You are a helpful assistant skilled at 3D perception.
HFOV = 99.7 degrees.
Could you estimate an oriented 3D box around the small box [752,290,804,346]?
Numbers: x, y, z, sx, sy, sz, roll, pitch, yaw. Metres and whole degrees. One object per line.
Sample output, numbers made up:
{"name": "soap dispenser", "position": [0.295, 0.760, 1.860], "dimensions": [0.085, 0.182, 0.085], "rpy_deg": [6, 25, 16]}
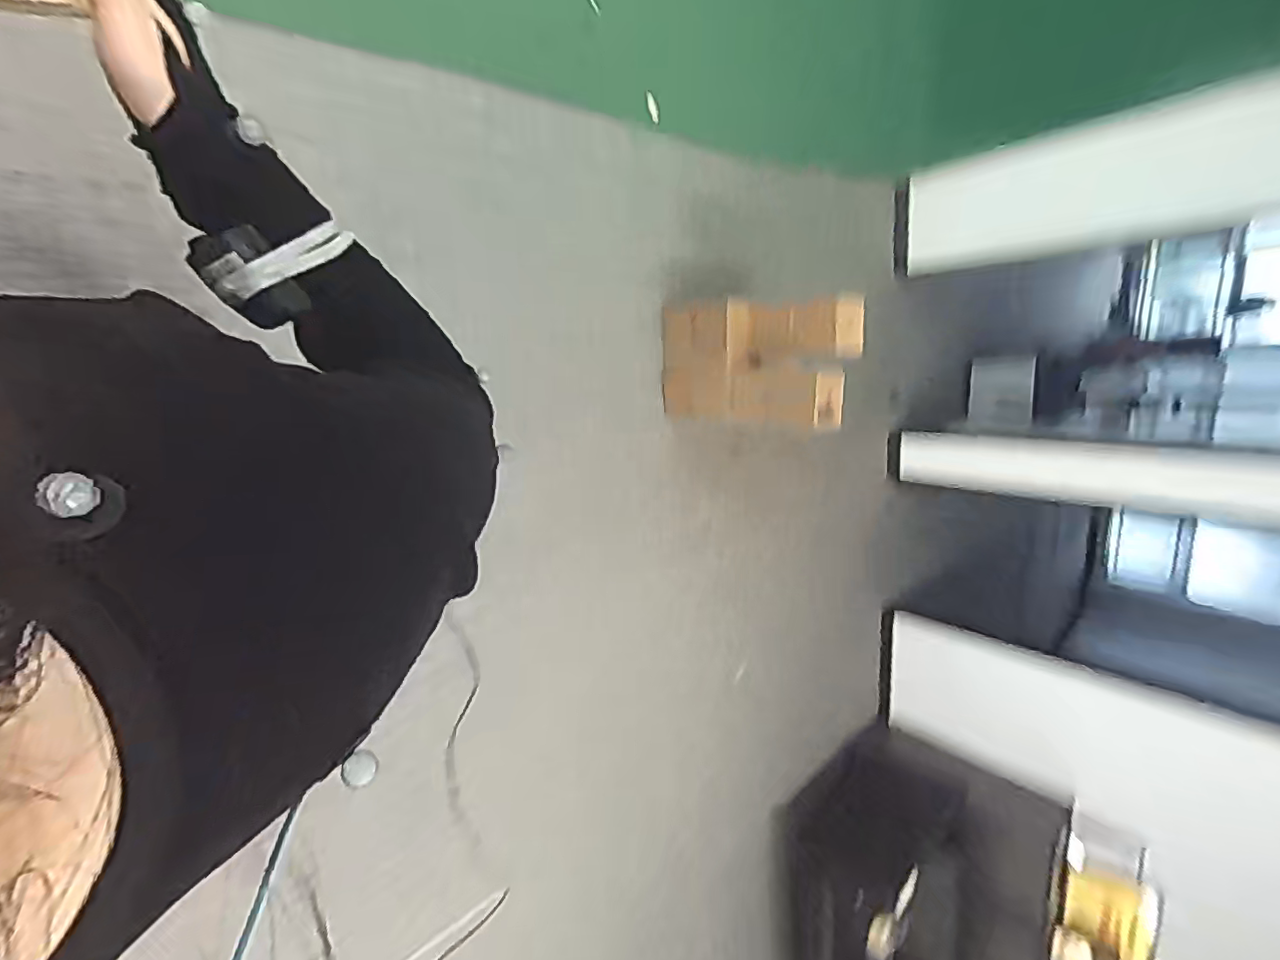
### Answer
{"name": "small box", "position": [0.500, -0.549, 1.852], "dimensions": [0.179, 0.176, 0.168], "rpy_deg": [-13, 106, -41]}

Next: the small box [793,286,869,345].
{"name": "small box", "position": [0.611, -0.525, 1.736], "dimensions": [0.179, 0.176, 0.168], "rpy_deg": [-14, 106, -40]}
